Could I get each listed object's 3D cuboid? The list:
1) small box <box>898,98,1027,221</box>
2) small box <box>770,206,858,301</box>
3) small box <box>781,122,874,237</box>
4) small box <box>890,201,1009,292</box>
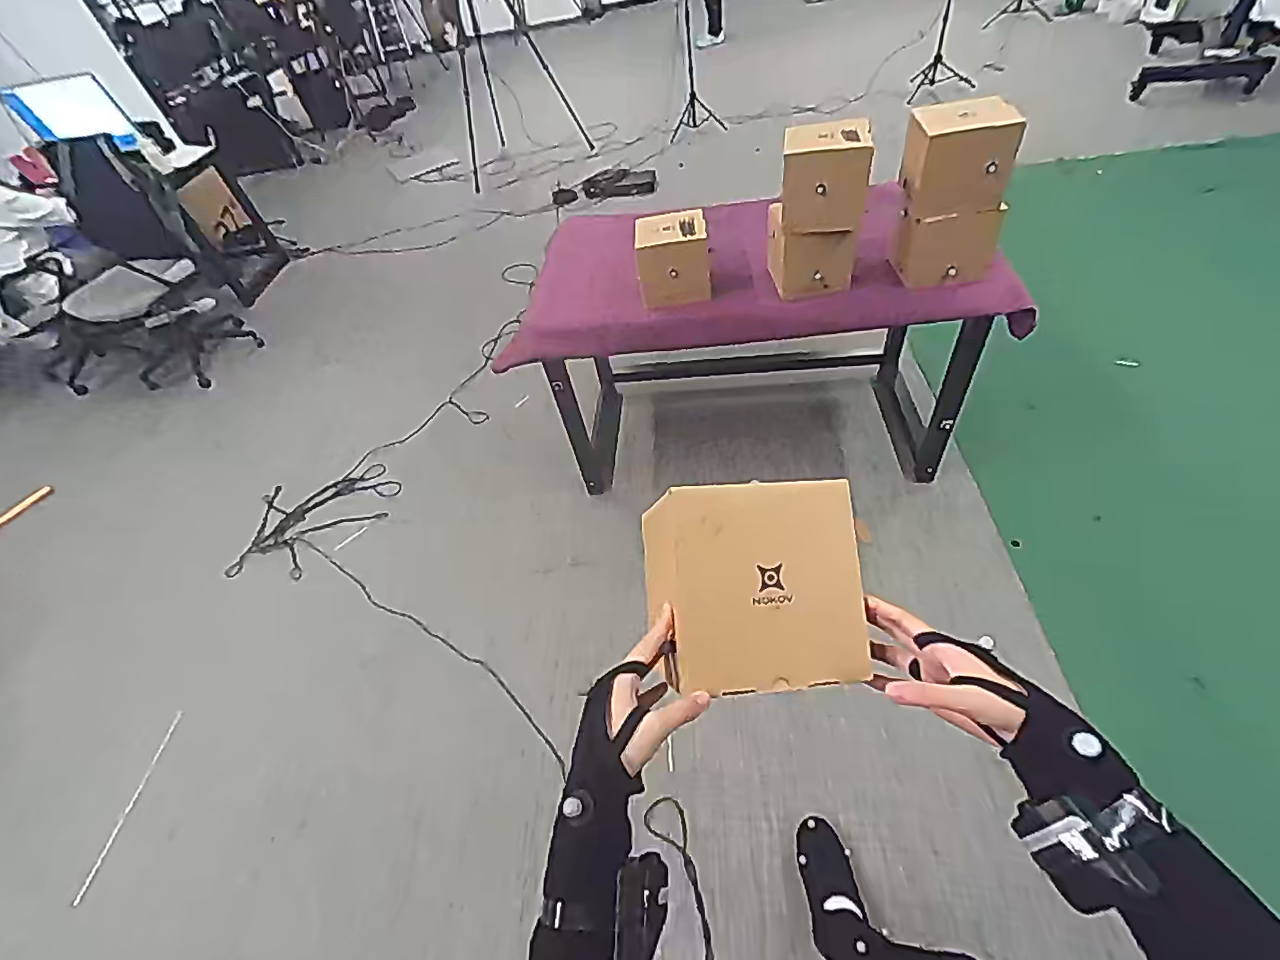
[{"bbox_3d":[0.670,-0.676,1.148,0.179,0.176,0.168,-2,49,12],"label":"small box"},{"bbox_3d":[0.418,-0.565,1.328,0.168,0.176,0.179,-8,48,6],"label":"small box"},{"bbox_3d":[0.405,-0.656,1.189,0.179,0.176,0.168,3,49,16],"label":"small box"},{"bbox_3d":[0.709,-0.565,1.263,0.179,0.176,0.168,-6,48,7],"label":"small box"}]
